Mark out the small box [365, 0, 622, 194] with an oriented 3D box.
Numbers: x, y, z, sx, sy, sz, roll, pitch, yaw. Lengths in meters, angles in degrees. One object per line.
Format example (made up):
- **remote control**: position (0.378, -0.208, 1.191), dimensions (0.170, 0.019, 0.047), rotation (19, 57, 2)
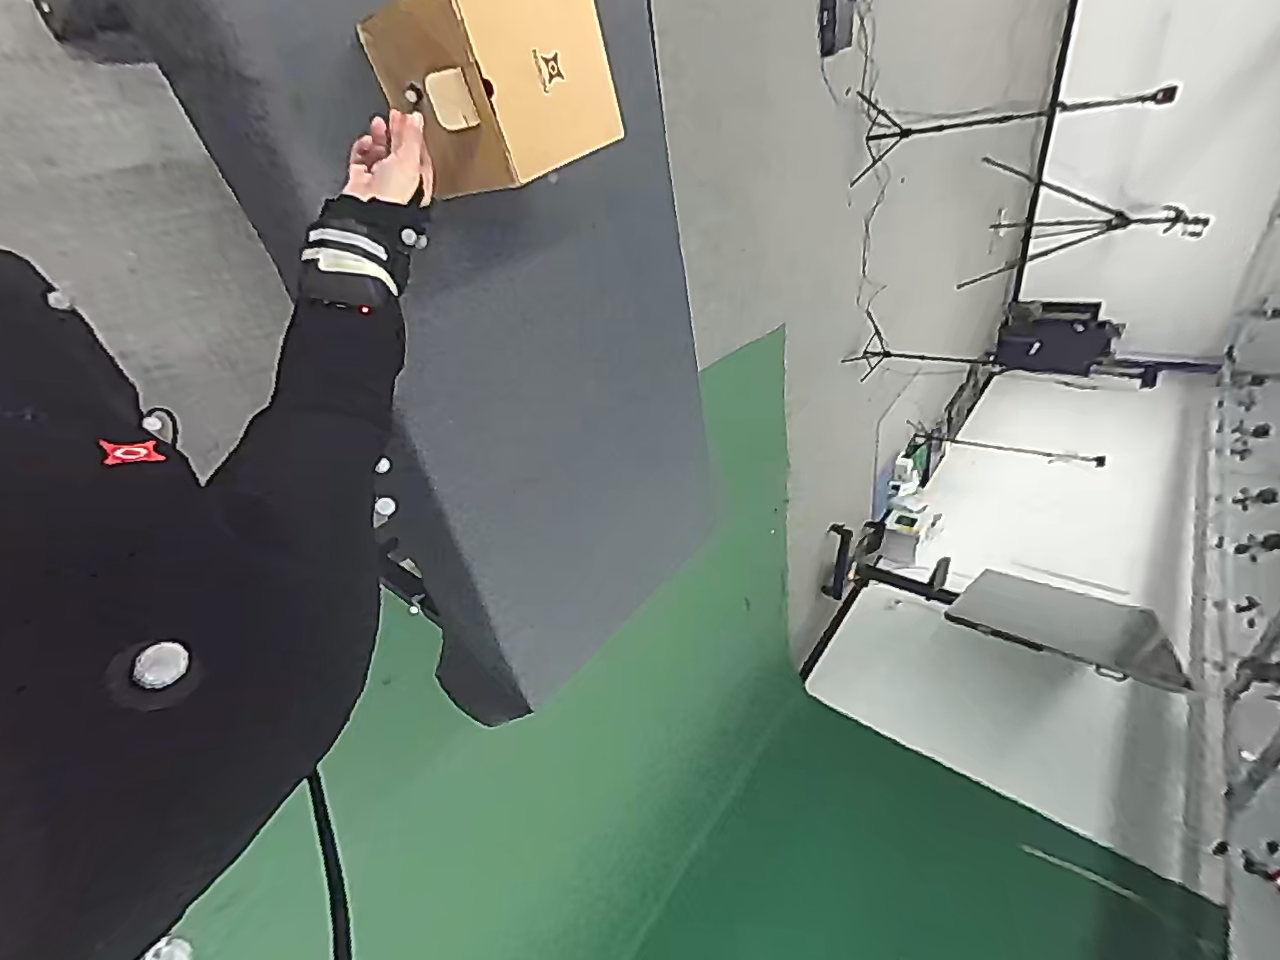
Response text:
- **small box**: position (-0.152, -0.428, 0.586), dimensions (0.179, 0.176, 0.168), rotation (-45, 136, -31)
